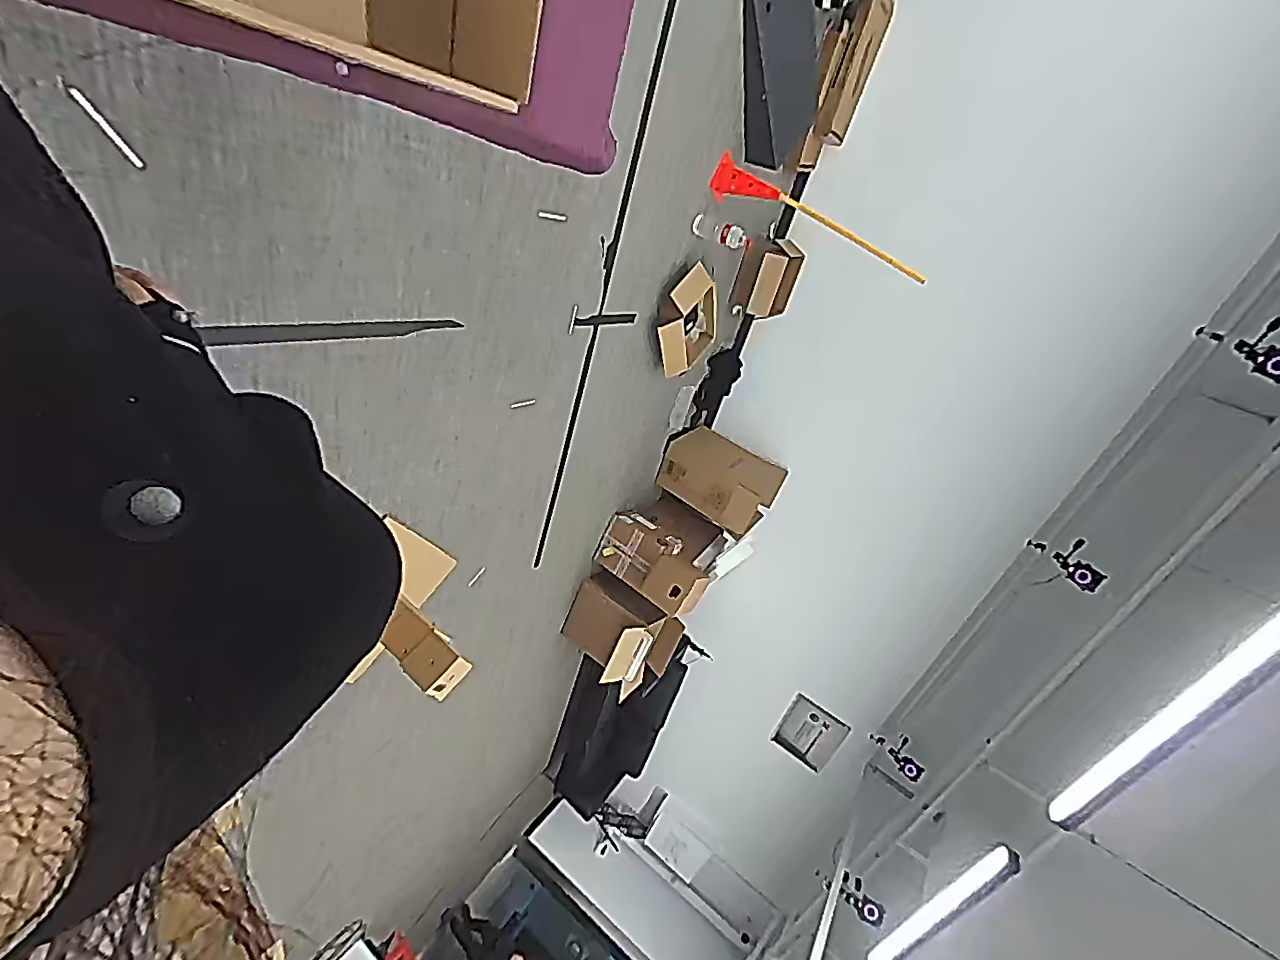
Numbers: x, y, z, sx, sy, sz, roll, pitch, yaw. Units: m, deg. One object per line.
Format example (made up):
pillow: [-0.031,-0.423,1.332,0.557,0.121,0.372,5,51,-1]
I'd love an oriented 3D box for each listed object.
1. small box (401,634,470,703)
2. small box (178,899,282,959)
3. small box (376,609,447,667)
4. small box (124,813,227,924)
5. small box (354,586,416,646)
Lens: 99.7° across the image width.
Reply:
small box: [-0.815,0.745,2.141,0.179,0.176,0.168,-48,157,-23]
small box: [-1.075,1.266,1.425,0.168,0.176,0.179,-29,143,-53]
small box: [-0.936,0.660,2.216,0.179,0.176,0.168,-48,157,-20]
small box: [-1.332,1.105,1.553,0.168,0.176,0.179,-30,145,-50]
small box: [-1.067,0.583,2.274,0.179,0.176,0.168,-49,157,-18]
